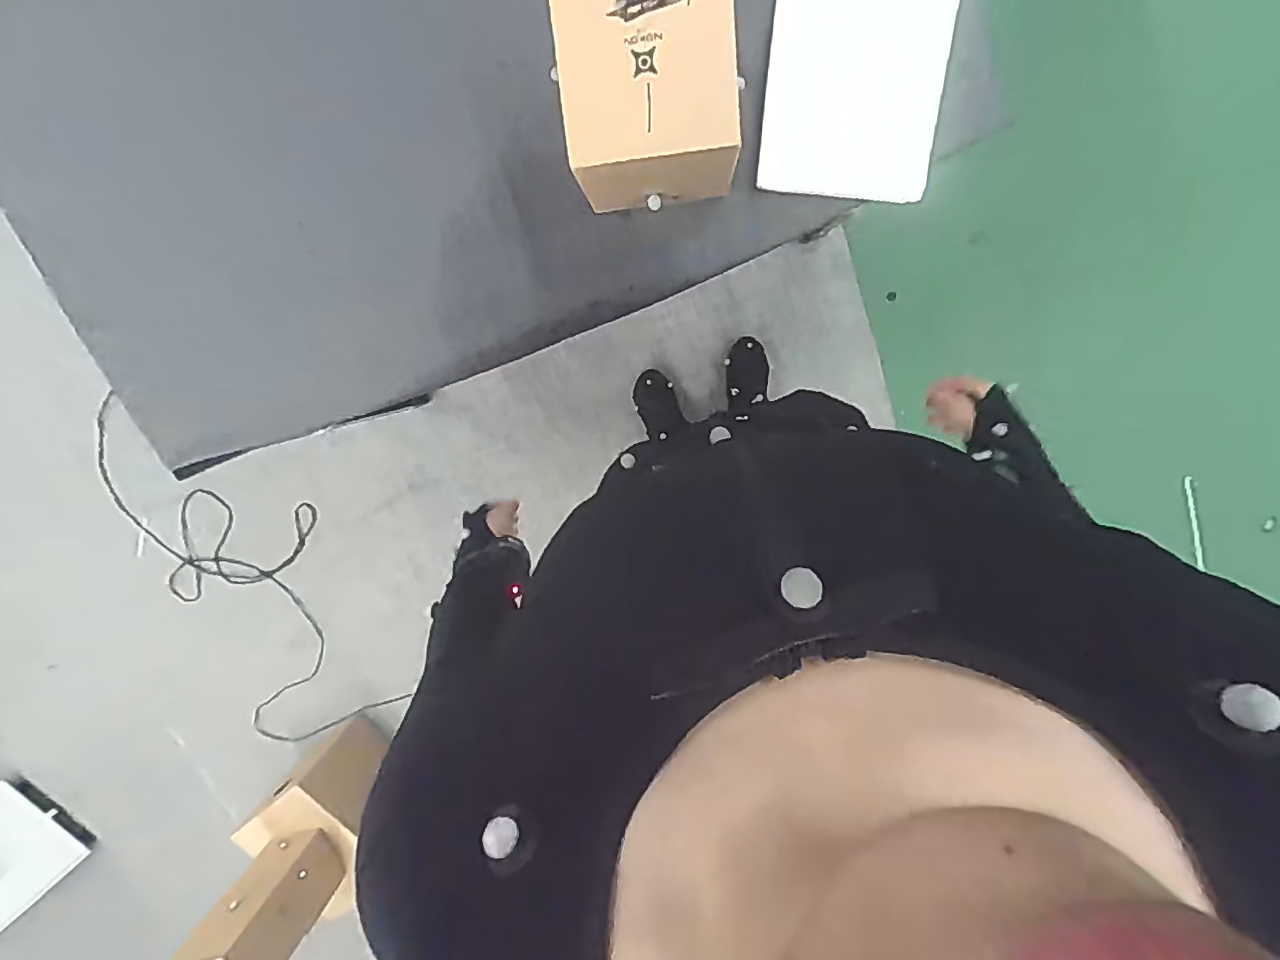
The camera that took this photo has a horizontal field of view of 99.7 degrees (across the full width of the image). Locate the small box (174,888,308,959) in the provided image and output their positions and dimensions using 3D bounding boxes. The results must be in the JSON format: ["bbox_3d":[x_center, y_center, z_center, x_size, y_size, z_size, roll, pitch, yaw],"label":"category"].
[{"bbox_3d":[-0.955,1.133,1.301,0.179,0.176,0.168,-18,103,10],"label":"small box"}]

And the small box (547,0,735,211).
[{"bbox_3d":[0.007,-0.408,0.573,0.168,0.176,0.179,-5,103,7],"label":"small box"}]
